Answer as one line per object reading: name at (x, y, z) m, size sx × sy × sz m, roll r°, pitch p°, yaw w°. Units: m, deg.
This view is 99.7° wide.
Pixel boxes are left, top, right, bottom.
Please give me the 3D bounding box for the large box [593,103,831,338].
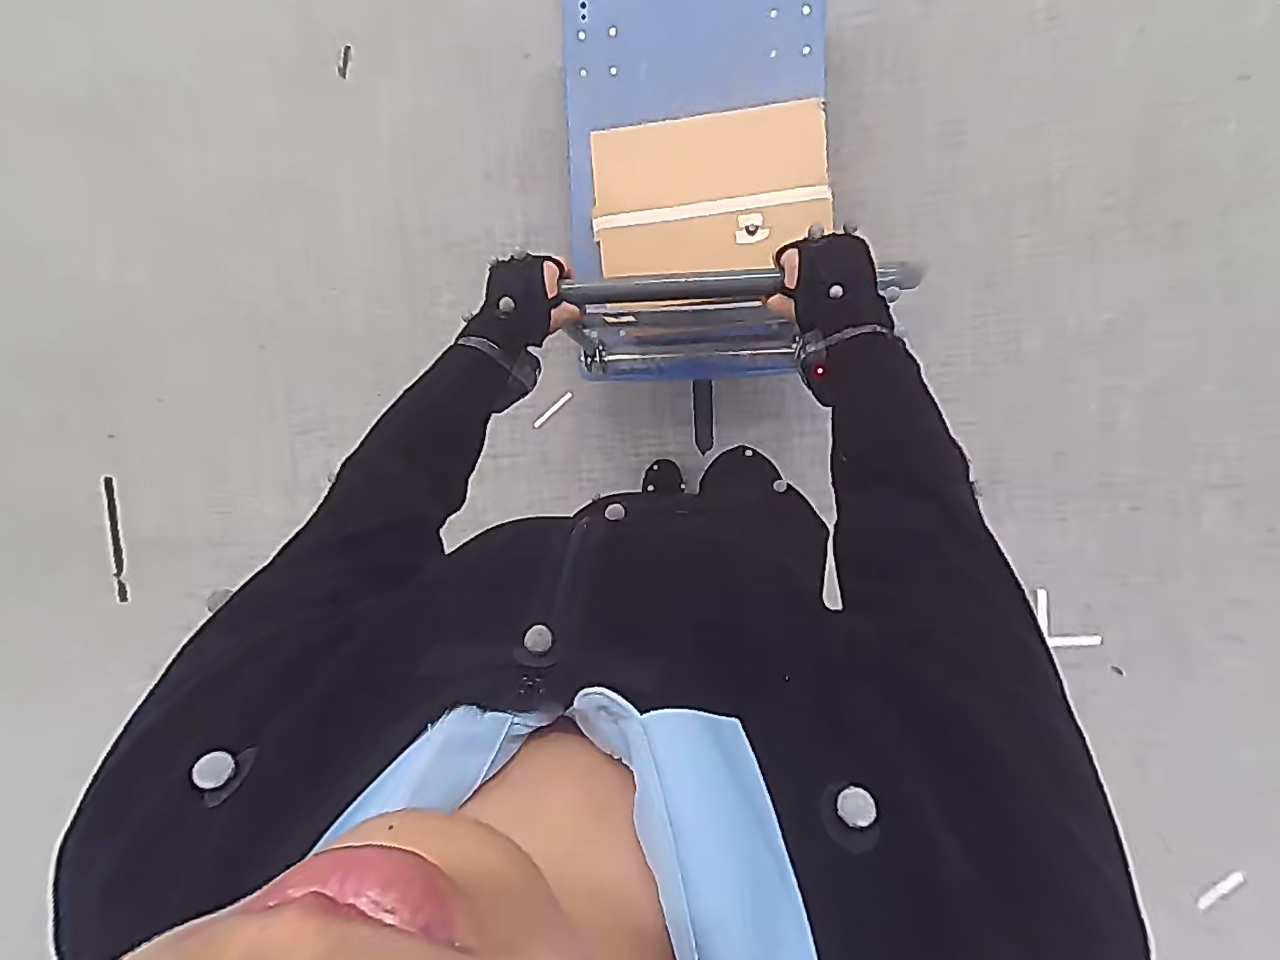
large box at (0.138, -0.492, 1.108) m, size 0.408 × 0.320 × 0.320 m, roll -5°, pitch 96°, yaw 5°
